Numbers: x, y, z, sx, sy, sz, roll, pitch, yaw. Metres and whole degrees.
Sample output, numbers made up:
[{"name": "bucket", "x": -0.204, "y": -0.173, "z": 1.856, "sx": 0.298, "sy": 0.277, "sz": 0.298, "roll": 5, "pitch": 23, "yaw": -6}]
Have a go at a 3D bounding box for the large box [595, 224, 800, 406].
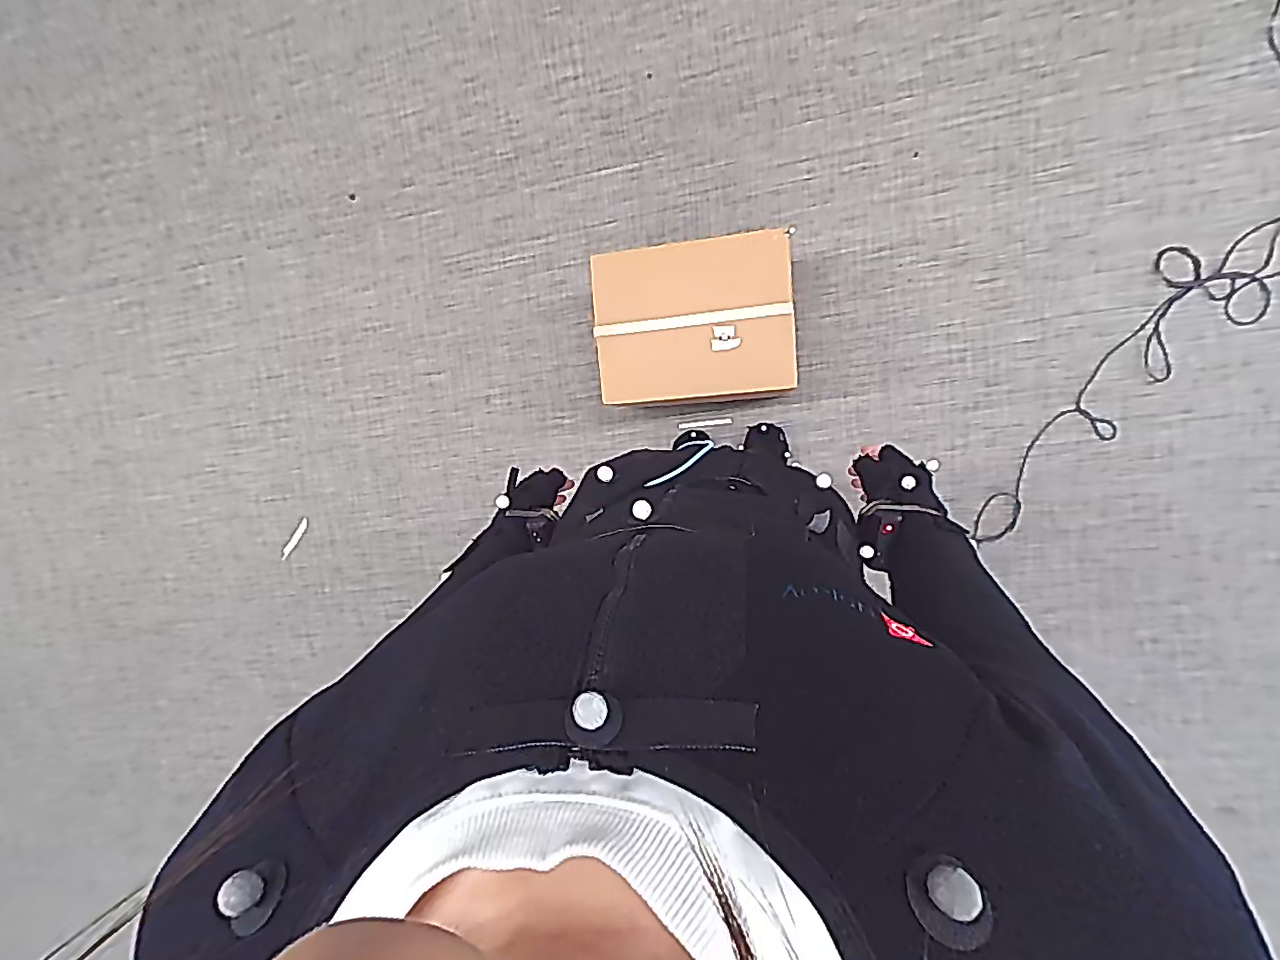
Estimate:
[{"name": "large box", "x": 0.138, "y": -0.349, "z": 1.250, "sx": 0.408, "sy": 0.320, "sz": 0.320, "roll": -4, "pitch": 96, "yaw": 11}]
